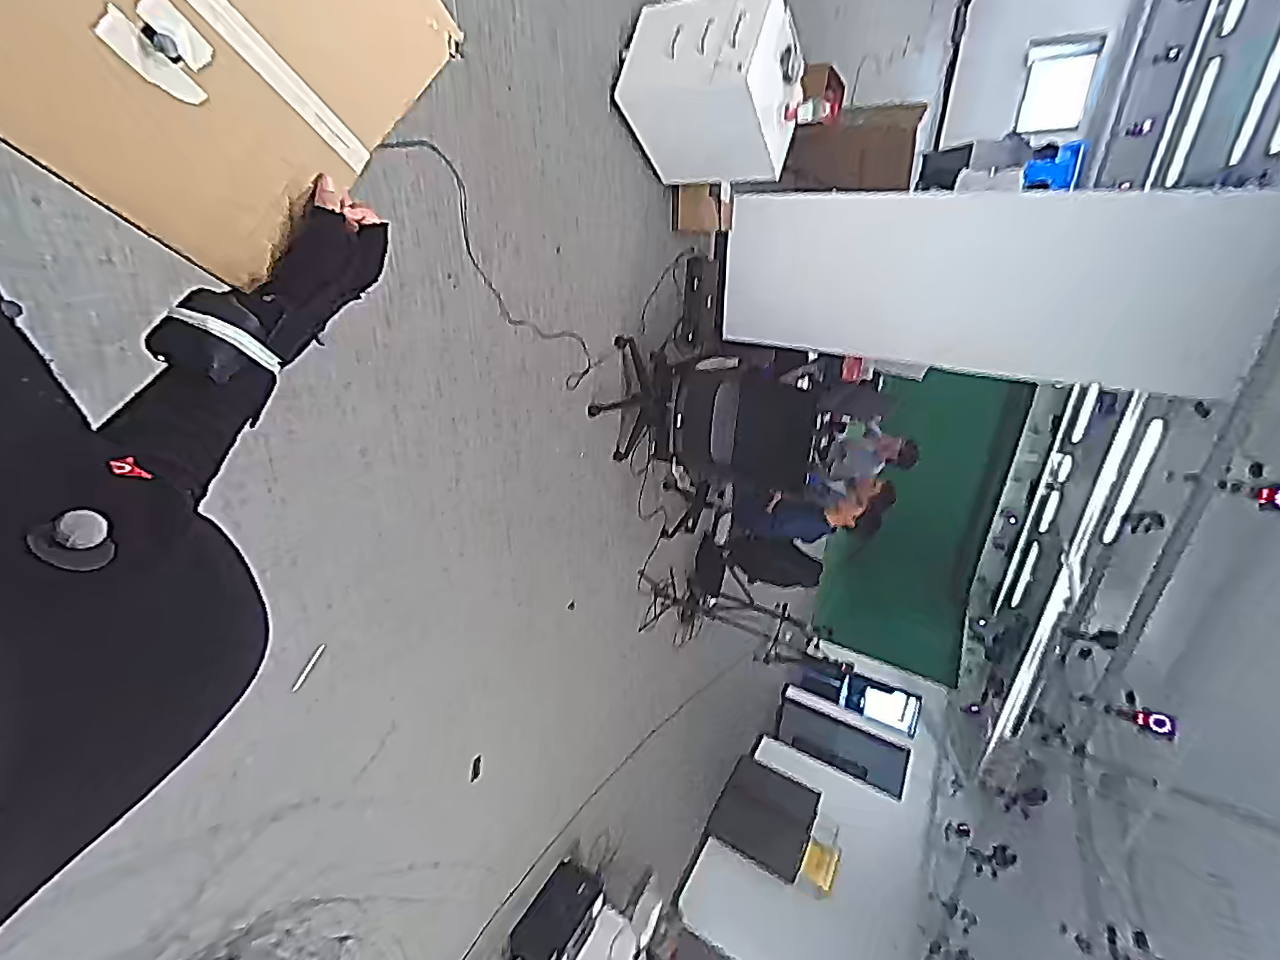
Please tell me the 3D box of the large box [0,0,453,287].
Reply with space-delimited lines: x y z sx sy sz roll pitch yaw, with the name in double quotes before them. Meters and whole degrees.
"large box" -0.444 -0.427 0.402 0.320 0.320 0.408 -56 150 -5
